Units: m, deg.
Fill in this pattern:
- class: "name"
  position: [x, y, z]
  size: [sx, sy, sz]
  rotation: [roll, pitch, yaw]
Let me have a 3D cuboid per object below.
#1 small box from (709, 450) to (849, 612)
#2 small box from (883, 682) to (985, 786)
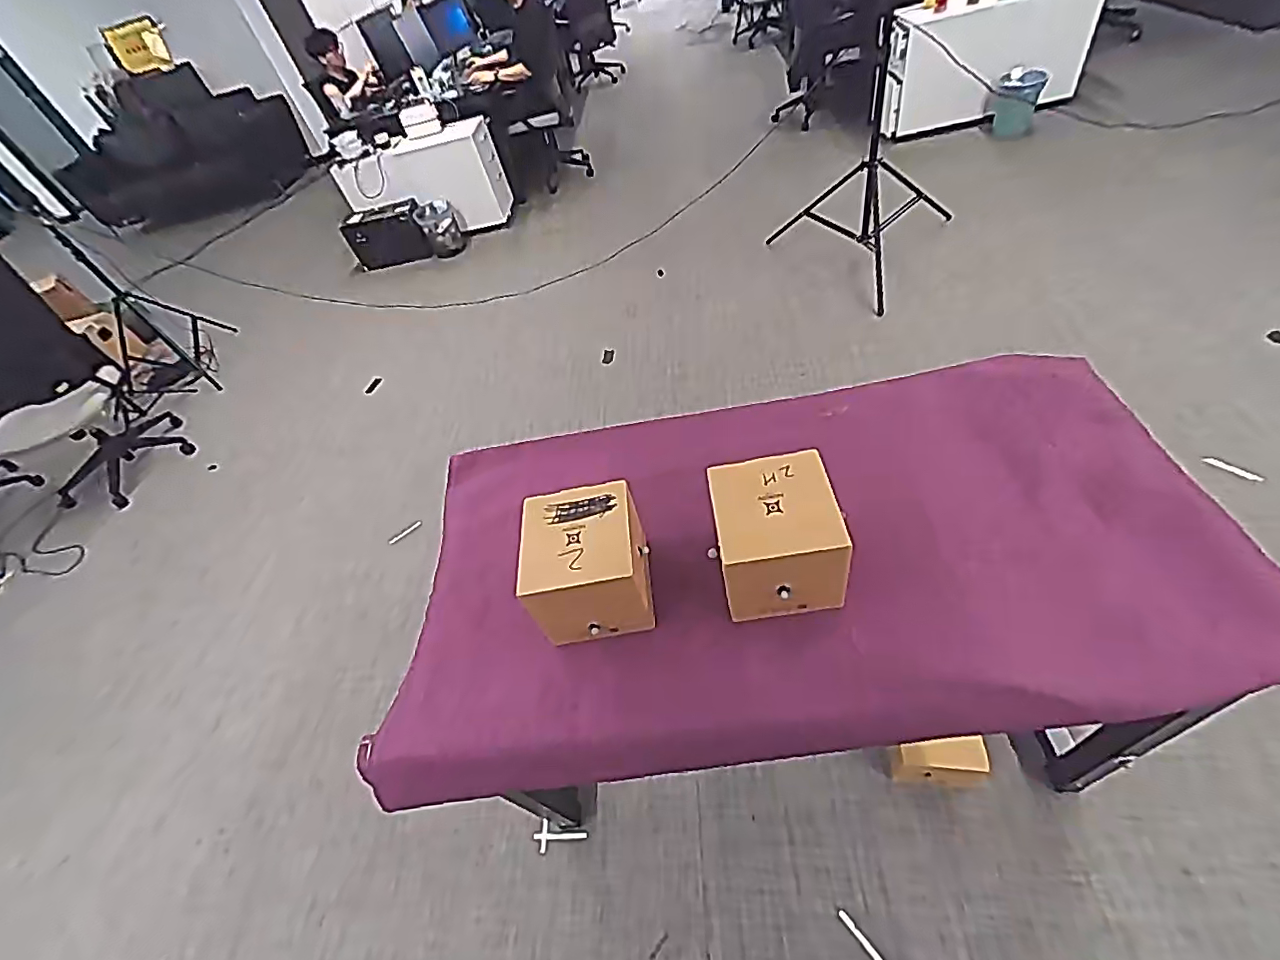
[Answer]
- class: "small box"
  position: [0.202, 0.084, 0.809]
  size: [0.168, 0.176, 0.179]
  rotation: [-9, 48, 7]
- class: "small box"
  position: [0.661, 0.583, 1.237]
  size: [0.168, 0.176, 0.179]
  rotation: [-2, 49, 15]
